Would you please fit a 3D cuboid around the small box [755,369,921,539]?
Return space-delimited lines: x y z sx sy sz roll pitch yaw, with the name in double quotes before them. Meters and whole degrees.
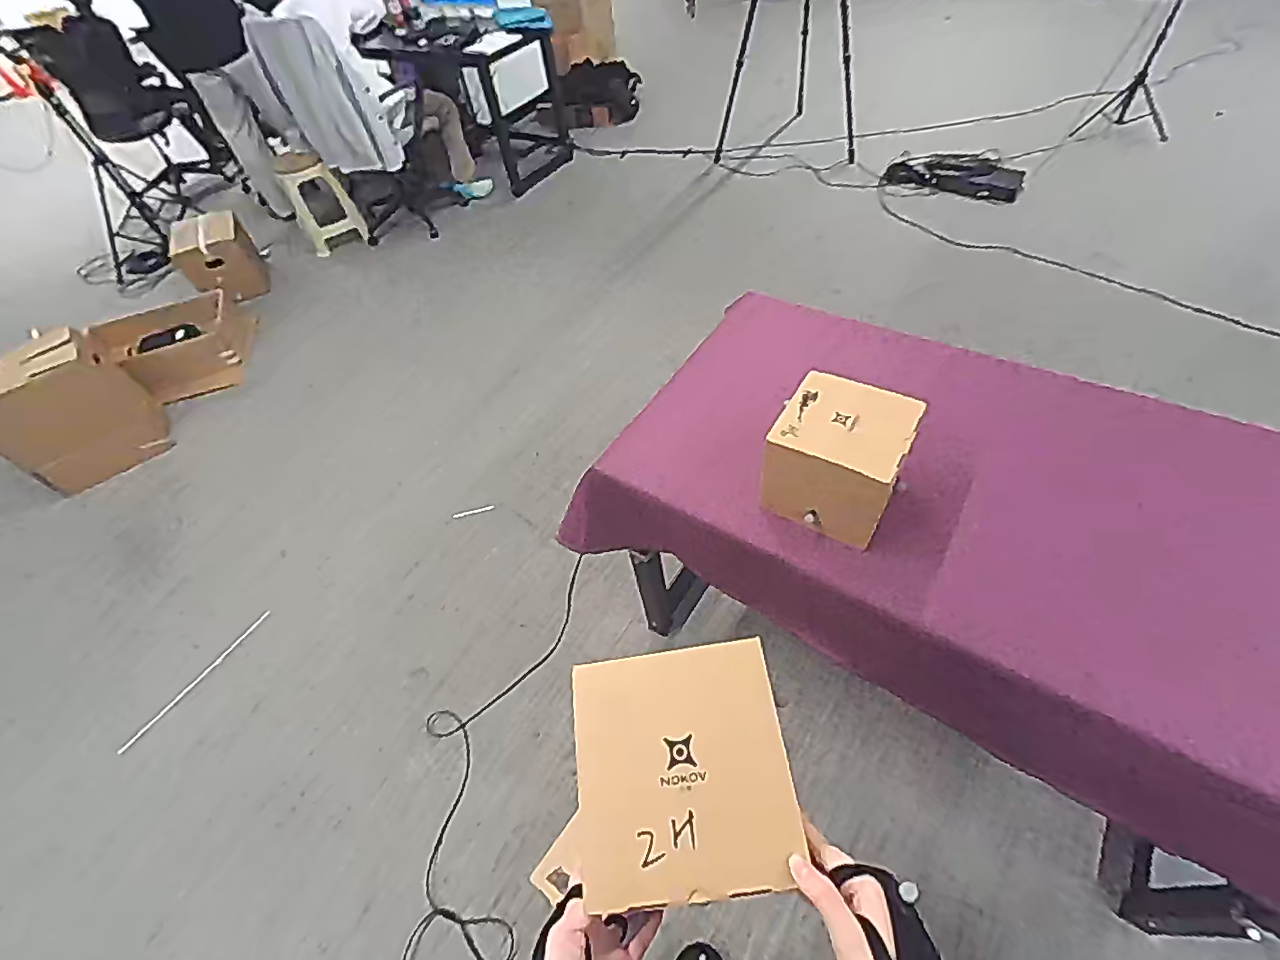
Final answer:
"small box" 0.292 -0.035 0.827 0.179 0.176 0.168 24 59 23

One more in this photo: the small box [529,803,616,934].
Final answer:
"small box" -0.101 0.815 1.152 0.168 0.176 0.179 29 60 26

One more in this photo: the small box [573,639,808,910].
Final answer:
"small box" 0.039 0.262 0.495 0.168 0.176 0.179 -10 60 3
